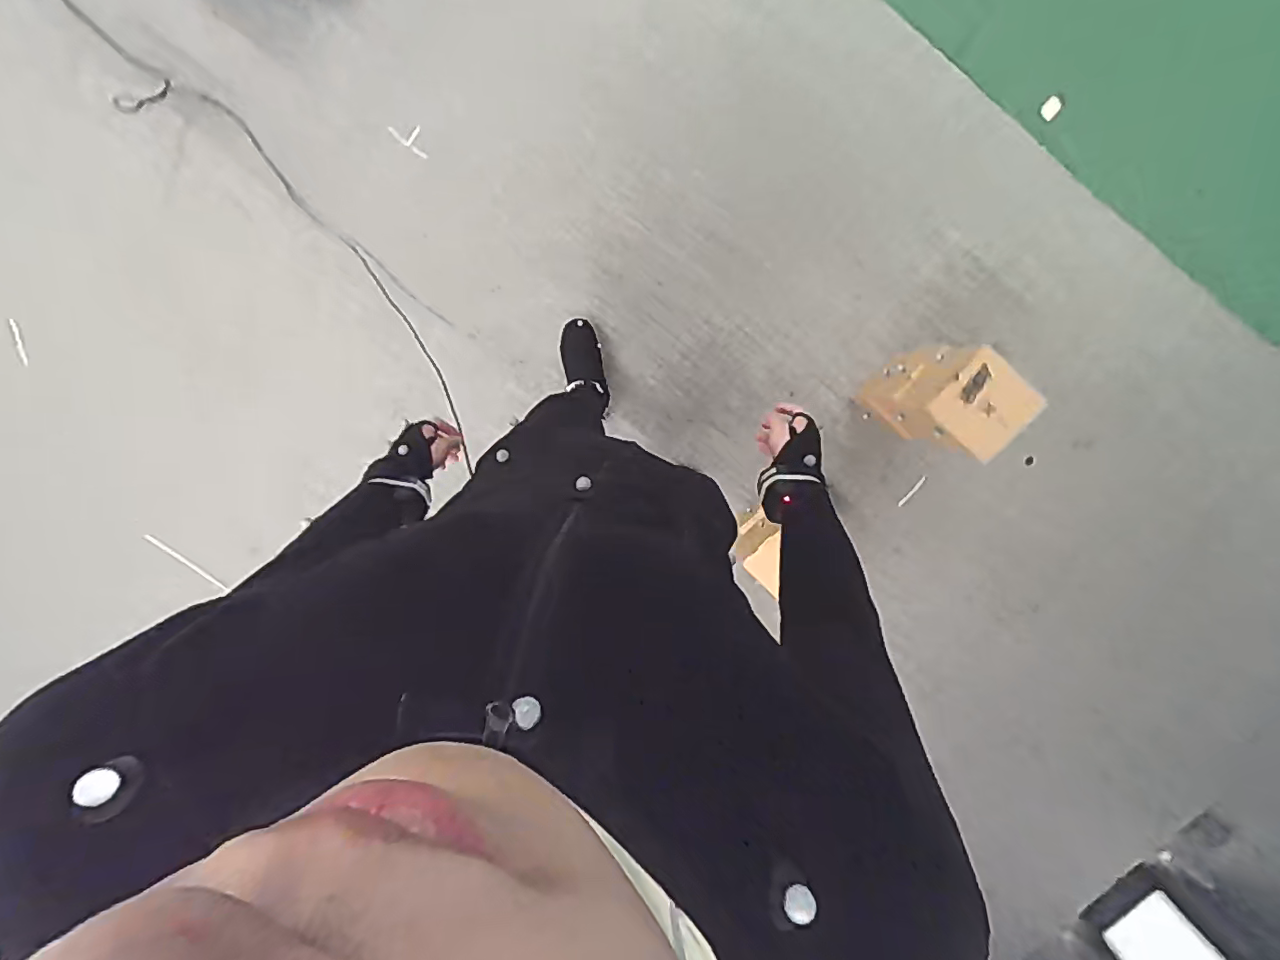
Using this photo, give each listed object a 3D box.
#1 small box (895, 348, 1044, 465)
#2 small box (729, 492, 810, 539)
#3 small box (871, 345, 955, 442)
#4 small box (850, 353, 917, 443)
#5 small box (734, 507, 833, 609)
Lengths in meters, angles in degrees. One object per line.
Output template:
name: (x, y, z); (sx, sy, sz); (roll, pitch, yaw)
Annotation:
small box: (0.683, -0.155, 1.146); (0.179, 0.176, 0.168); (42, 101, -5)
small box: (0.378, 0.156, 1.561); (0.168, 0.176, 0.179); (-39, 95, 8)
small box: (0.694, -0.200, 1.305); (0.179, 0.176, 0.168); (43, 101, -4)
small box: (0.705, -0.225, 1.466); (0.168, 0.176, 0.179); (44, 101, -5)
small box: (0.365, 0.195, 1.406); (0.179, 0.176, 0.168); (44, 101, -5)
